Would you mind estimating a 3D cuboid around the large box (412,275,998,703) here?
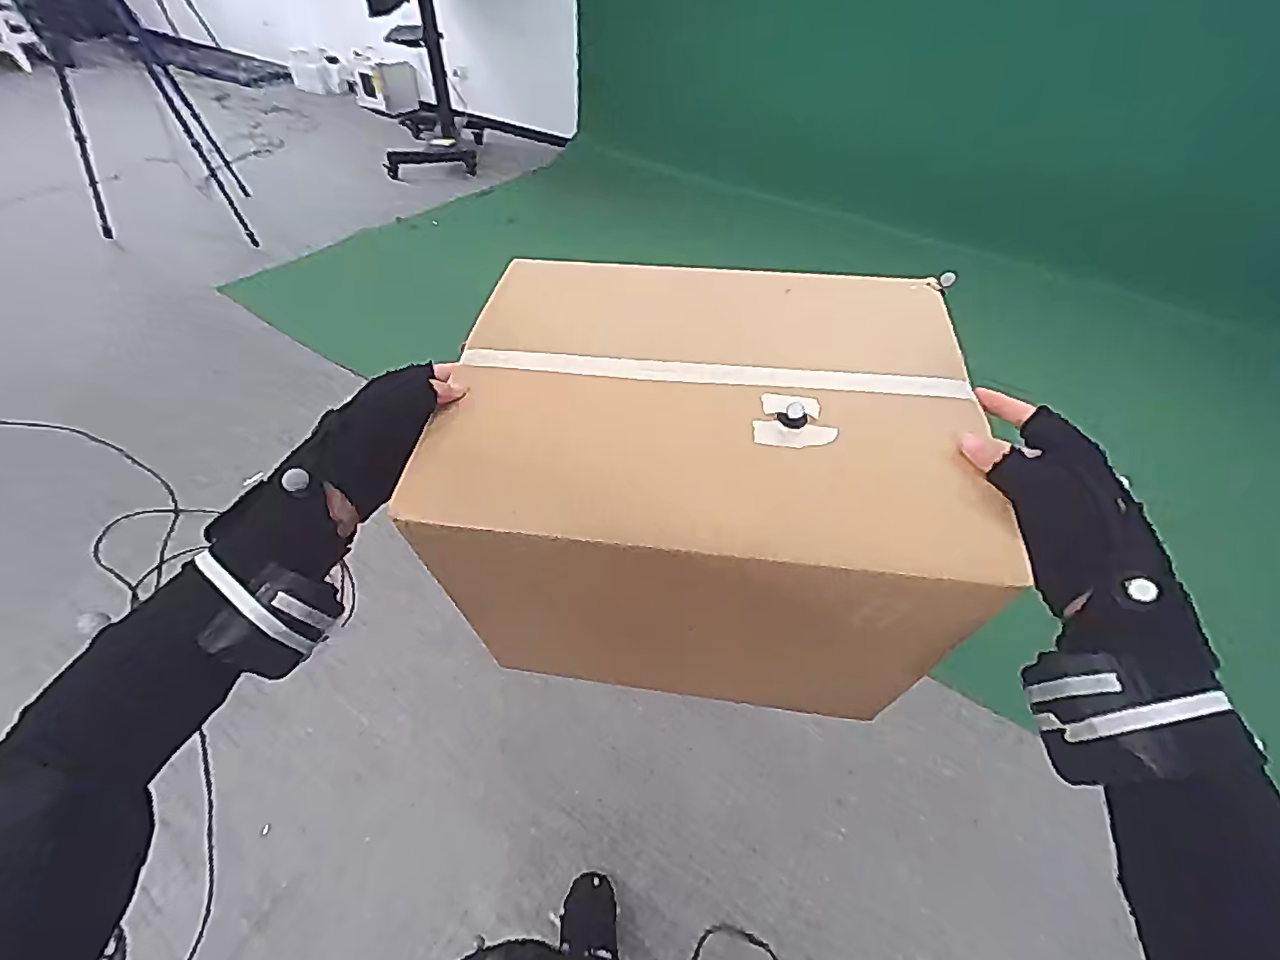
[{"bbox_3d":[0.054,0.014,0.568,0.408,0.320,0.320,6,53,6],"label":"large box"}]
